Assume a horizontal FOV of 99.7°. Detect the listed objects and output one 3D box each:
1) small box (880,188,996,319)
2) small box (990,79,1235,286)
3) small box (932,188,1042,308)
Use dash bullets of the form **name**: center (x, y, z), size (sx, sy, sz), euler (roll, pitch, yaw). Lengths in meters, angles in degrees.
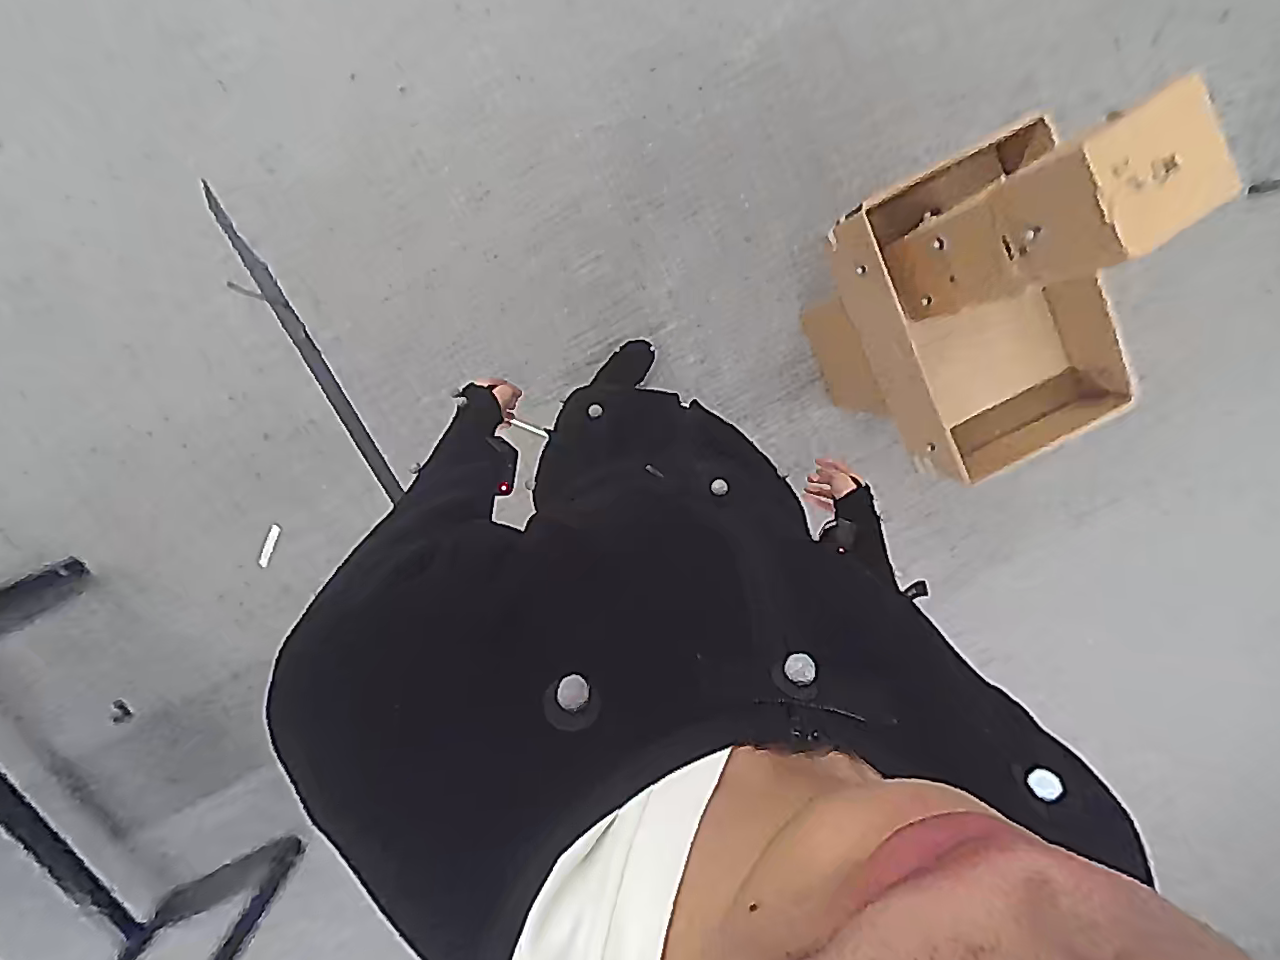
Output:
- **small box**: center (0.627, -0.441, 1.093), size (0.168, 0.176, 0.179), euler (-32, 100, 2)
- **small box**: center (0.653, -0.402, 0.766), size (0.179, 0.176, 0.168), euler (-32, 101, 1)
- **small box**: center (0.641, -0.417, 0.931), size (0.179, 0.176, 0.168), euler (-31, 101, 1)
